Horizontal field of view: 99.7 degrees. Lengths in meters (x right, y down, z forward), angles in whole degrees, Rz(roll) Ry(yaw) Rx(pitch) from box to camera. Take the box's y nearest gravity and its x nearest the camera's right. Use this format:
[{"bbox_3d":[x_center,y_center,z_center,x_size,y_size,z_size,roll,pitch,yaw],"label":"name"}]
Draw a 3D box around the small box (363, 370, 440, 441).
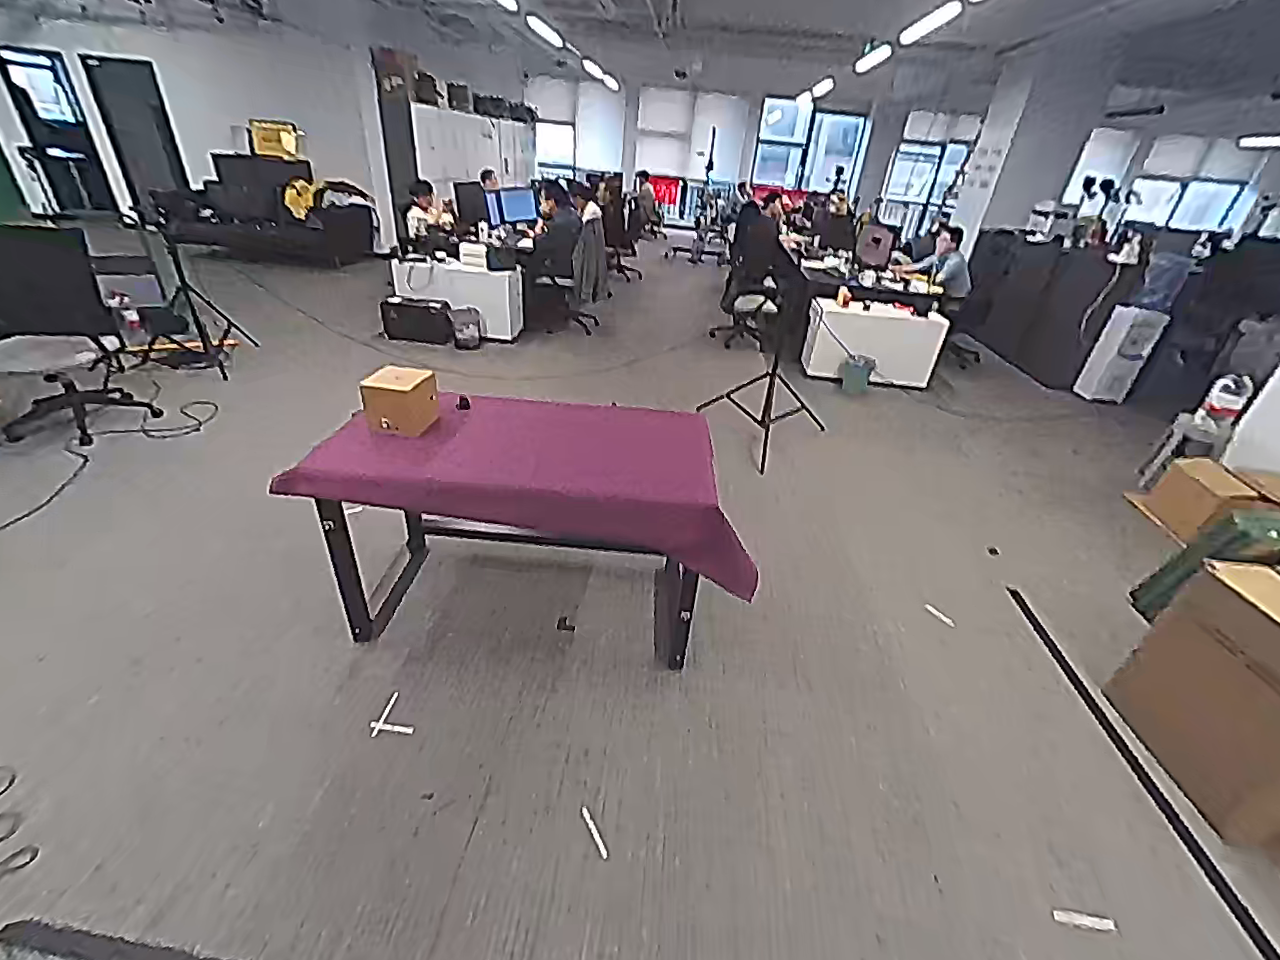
[{"bbox_3d":[-0.774,-0.247,1.775,0.168,0.176,0.179,7,32,5],"label":"small box"}]
